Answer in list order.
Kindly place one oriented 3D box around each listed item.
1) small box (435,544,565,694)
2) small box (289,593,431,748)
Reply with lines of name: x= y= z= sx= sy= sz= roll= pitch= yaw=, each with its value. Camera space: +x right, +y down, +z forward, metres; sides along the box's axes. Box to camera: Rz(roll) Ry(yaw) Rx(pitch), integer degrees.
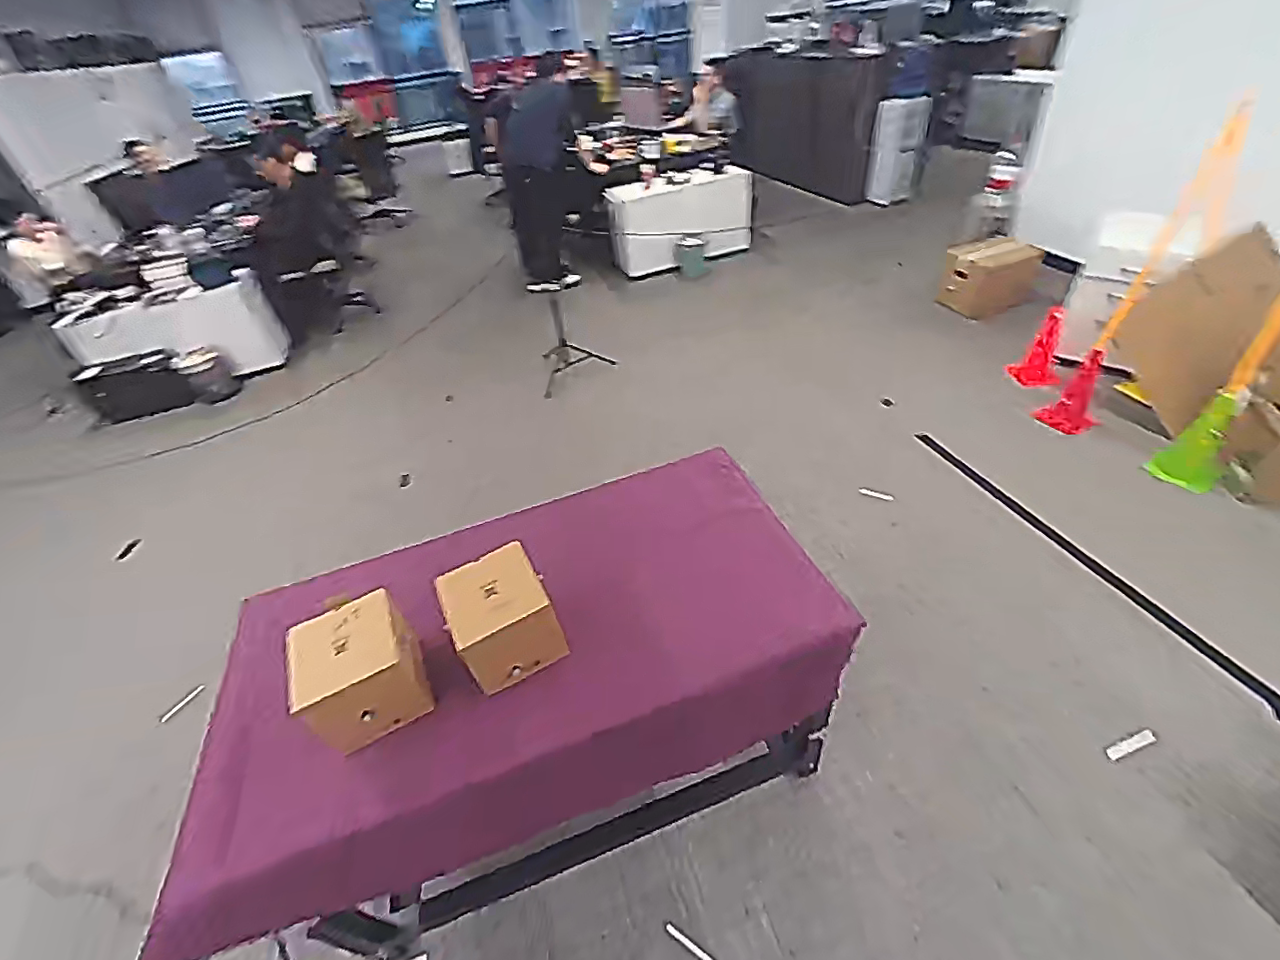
small box: x=-0.258 y=0.260 z=1.011 sx=0.168 sy=0.176 sz=0.179 roll=-25 pitch=44 yaw=-17
small box: x=-0.491 y=0.342 z=0.958 sx=0.168 sy=0.176 sz=0.179 roll=-24 pitch=43 yaw=-17
